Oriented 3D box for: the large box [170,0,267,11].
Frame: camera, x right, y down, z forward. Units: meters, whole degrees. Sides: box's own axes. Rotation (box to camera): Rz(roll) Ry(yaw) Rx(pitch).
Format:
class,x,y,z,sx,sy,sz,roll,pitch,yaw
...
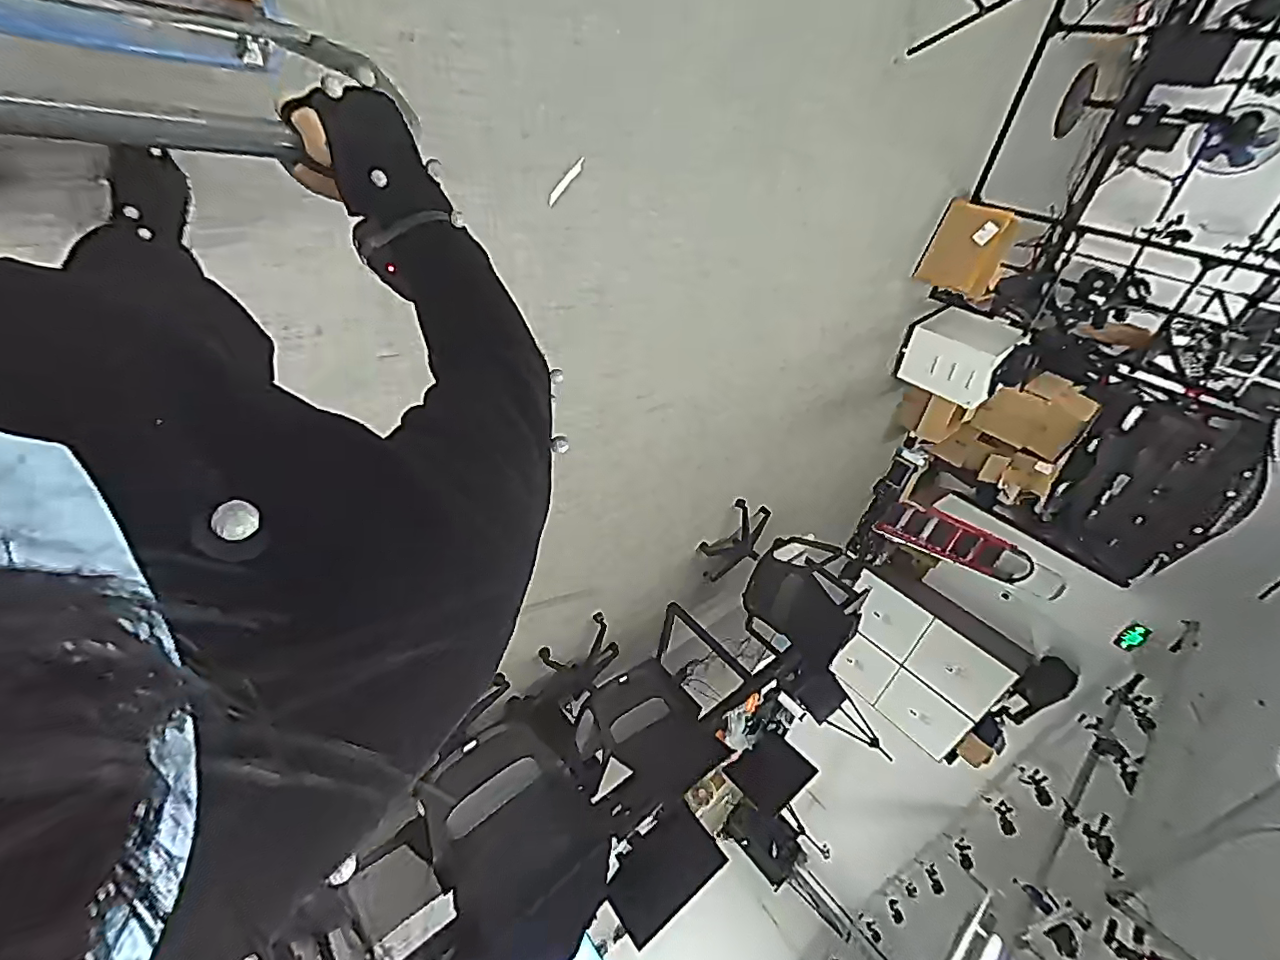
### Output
class,x,y,z,sx,sy,sz,roll,pitch,yaw
large box,-0.676,-0.713,0.536,0.408,0.320,0.320,-21,136,-39
